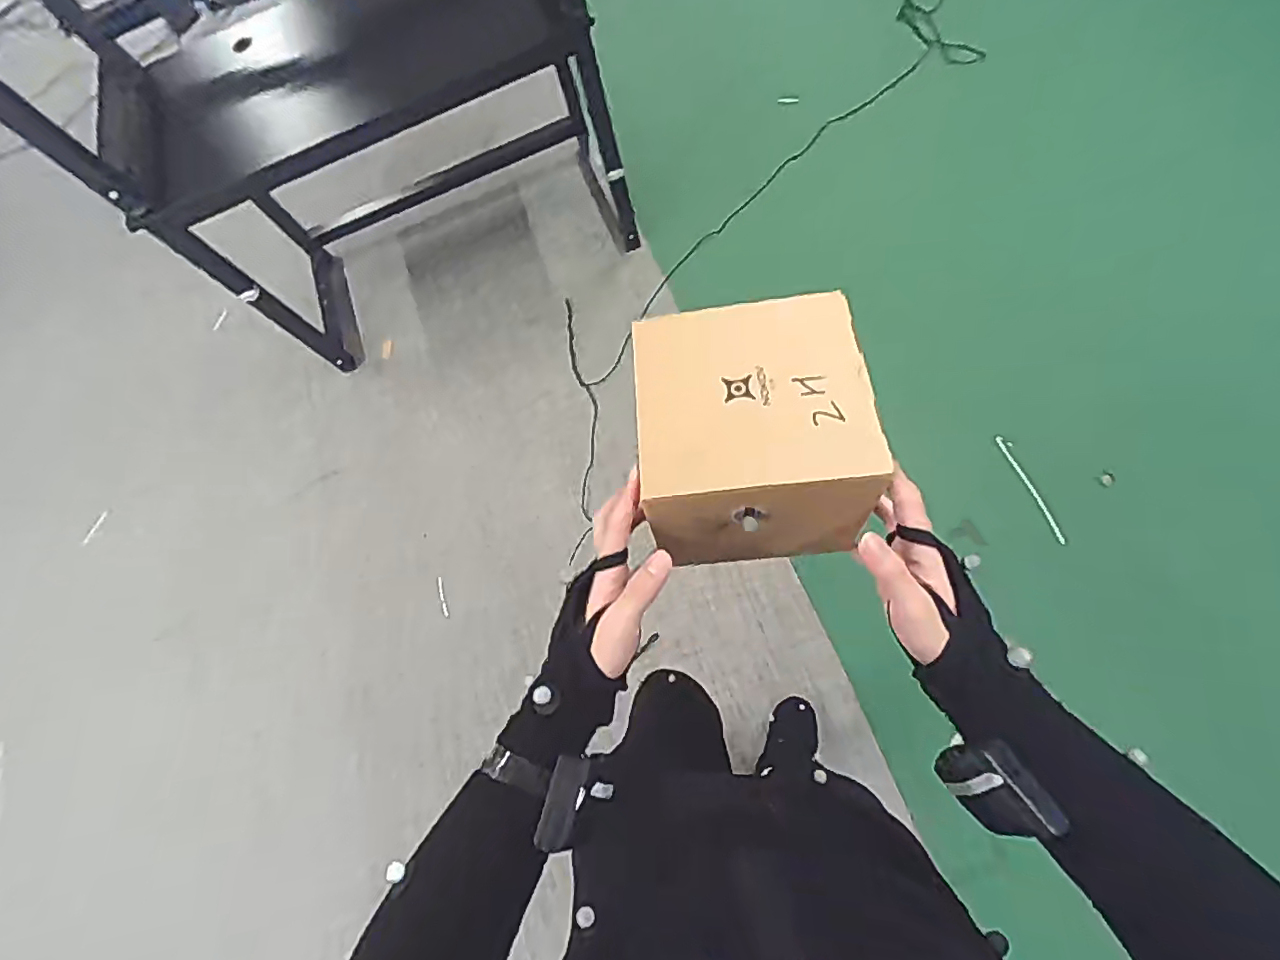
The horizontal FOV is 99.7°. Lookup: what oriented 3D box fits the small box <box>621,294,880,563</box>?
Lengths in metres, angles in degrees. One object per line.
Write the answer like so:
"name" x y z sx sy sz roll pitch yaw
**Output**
"small box" 0.085 -0.032 0.474 0.179 0.176 0.168 -6 64 6
